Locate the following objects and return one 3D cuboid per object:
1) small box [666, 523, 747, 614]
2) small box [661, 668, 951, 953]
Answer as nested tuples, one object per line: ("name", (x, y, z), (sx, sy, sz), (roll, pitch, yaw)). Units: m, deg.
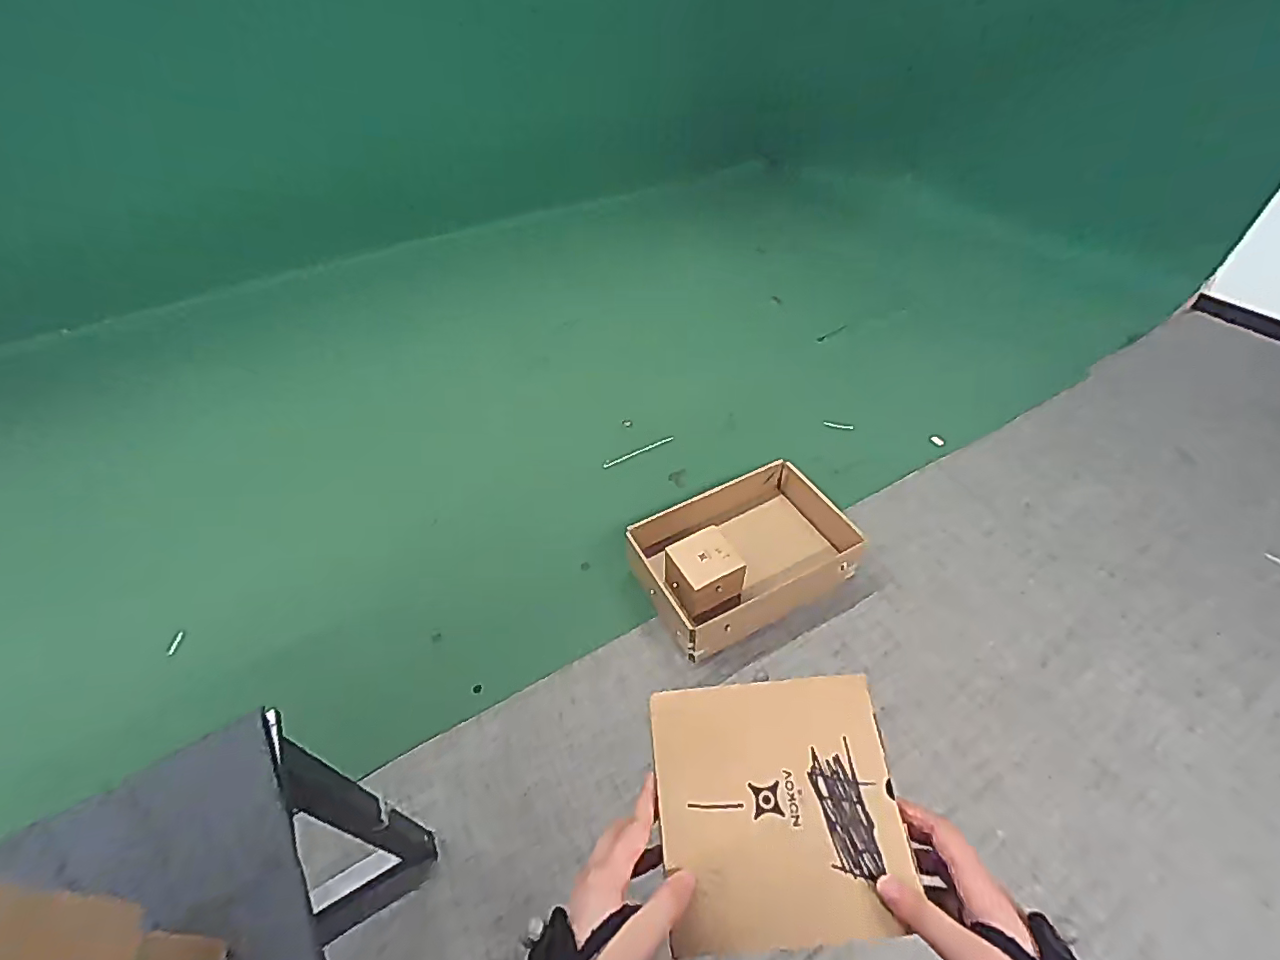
("small box", (0.190, 0.262, 1.584), (0.179, 0.176, 0.168), (-22, 51, -19))
("small box", (0.112, 0.261, 0.454), (0.179, 0.176, 0.168), (-6, 61, -1))
